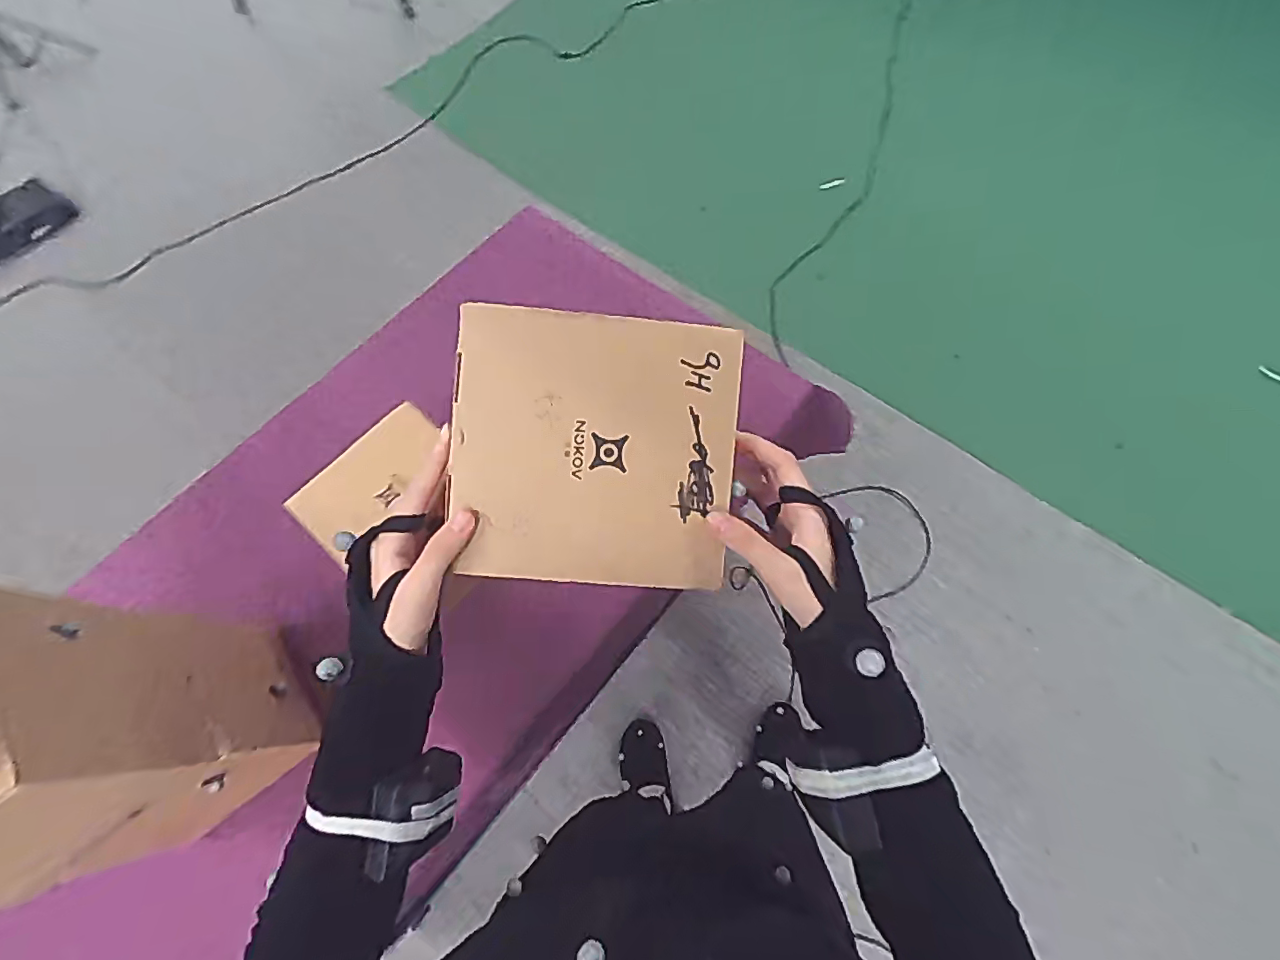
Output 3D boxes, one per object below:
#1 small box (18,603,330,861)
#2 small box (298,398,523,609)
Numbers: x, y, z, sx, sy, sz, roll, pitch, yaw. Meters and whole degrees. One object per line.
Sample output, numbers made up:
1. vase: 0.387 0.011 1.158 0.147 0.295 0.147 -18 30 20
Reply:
1. small box: -0.494 0.267 0.598 0.179 0.176 0.168 -37 70 -13
2. small box: -0.268 0.037 0.684 0.168 0.176 0.179 39 75 17
